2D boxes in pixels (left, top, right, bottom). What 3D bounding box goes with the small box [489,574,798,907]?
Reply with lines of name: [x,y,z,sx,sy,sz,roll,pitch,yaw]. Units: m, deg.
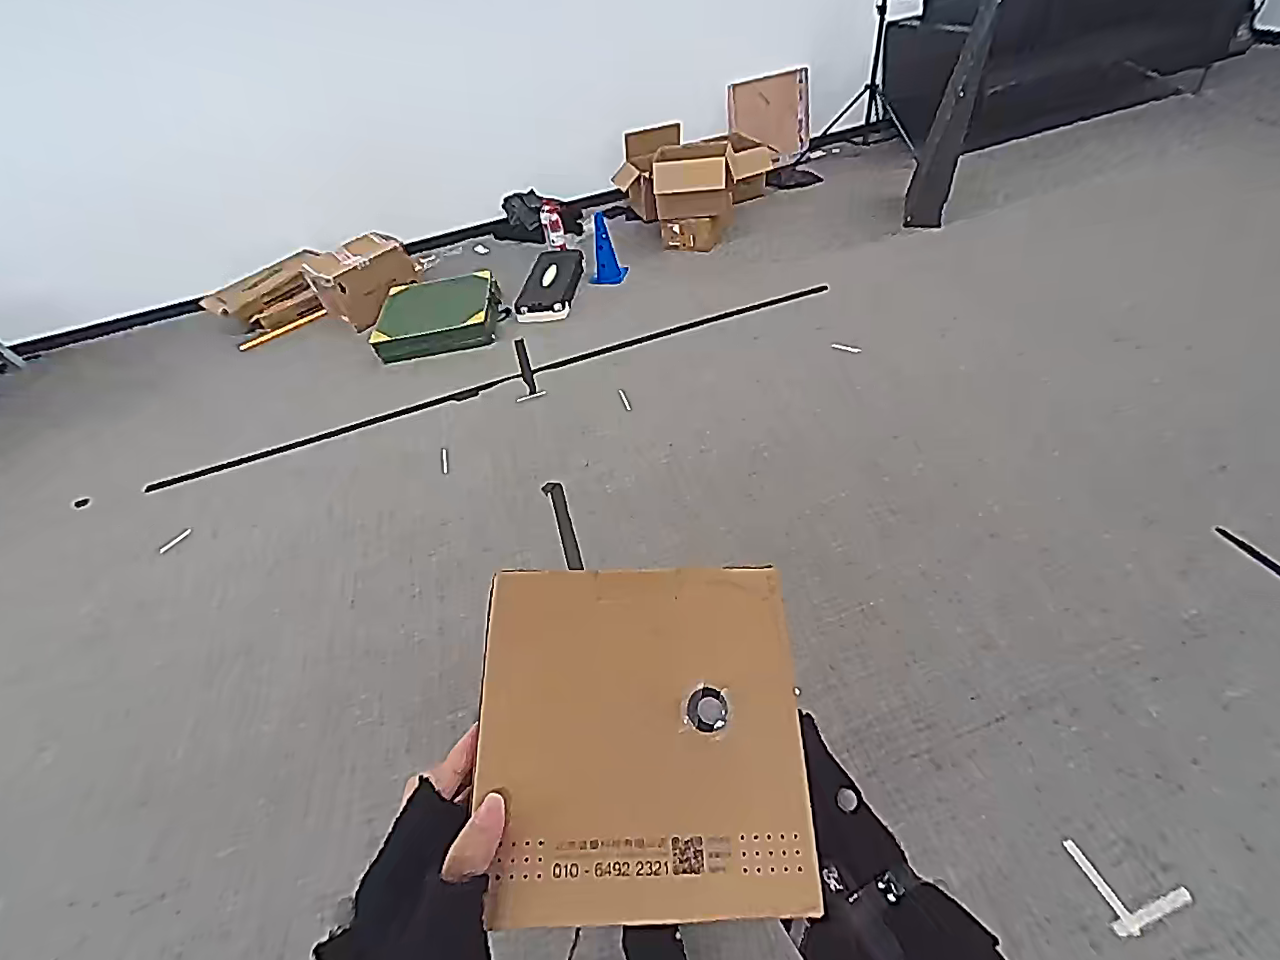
small box: [0.000,0.170,0.372,0.168,0.179,0.176,-1,66,0]
